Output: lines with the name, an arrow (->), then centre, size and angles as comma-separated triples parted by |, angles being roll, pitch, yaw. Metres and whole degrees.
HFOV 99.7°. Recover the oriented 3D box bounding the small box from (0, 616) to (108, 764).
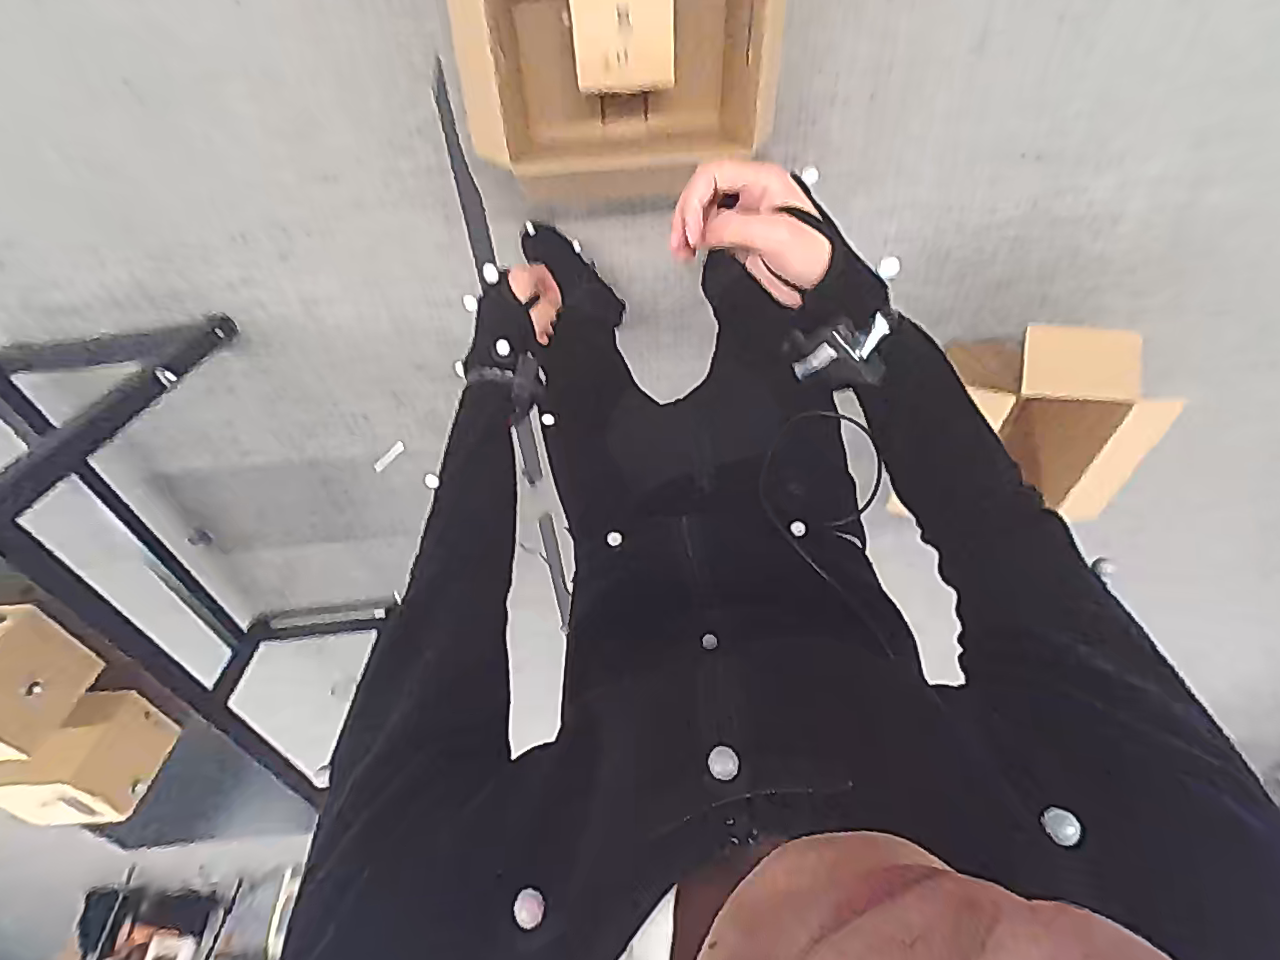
small box -> -1.026, 0.328, 0.851 | 0.168, 0.176, 0.179 | -4, 131, 0
